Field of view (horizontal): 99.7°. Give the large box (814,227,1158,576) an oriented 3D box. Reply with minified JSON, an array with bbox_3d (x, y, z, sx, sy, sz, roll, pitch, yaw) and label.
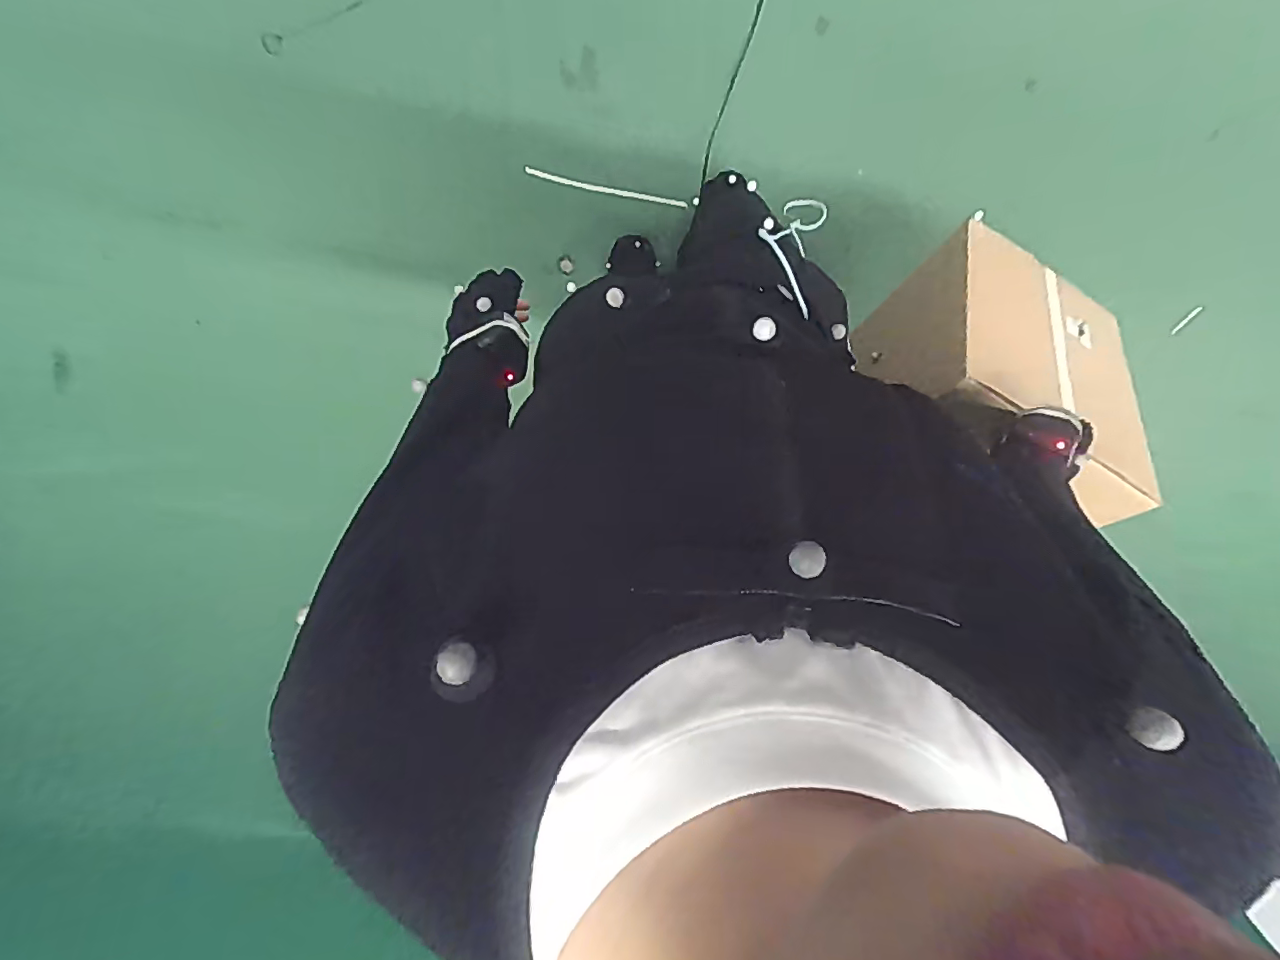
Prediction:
[{"bbox_3d":[0.528,-0.119,0.891,0.320,0.408,0.320,31,144,-7],"label":"large box"}]
